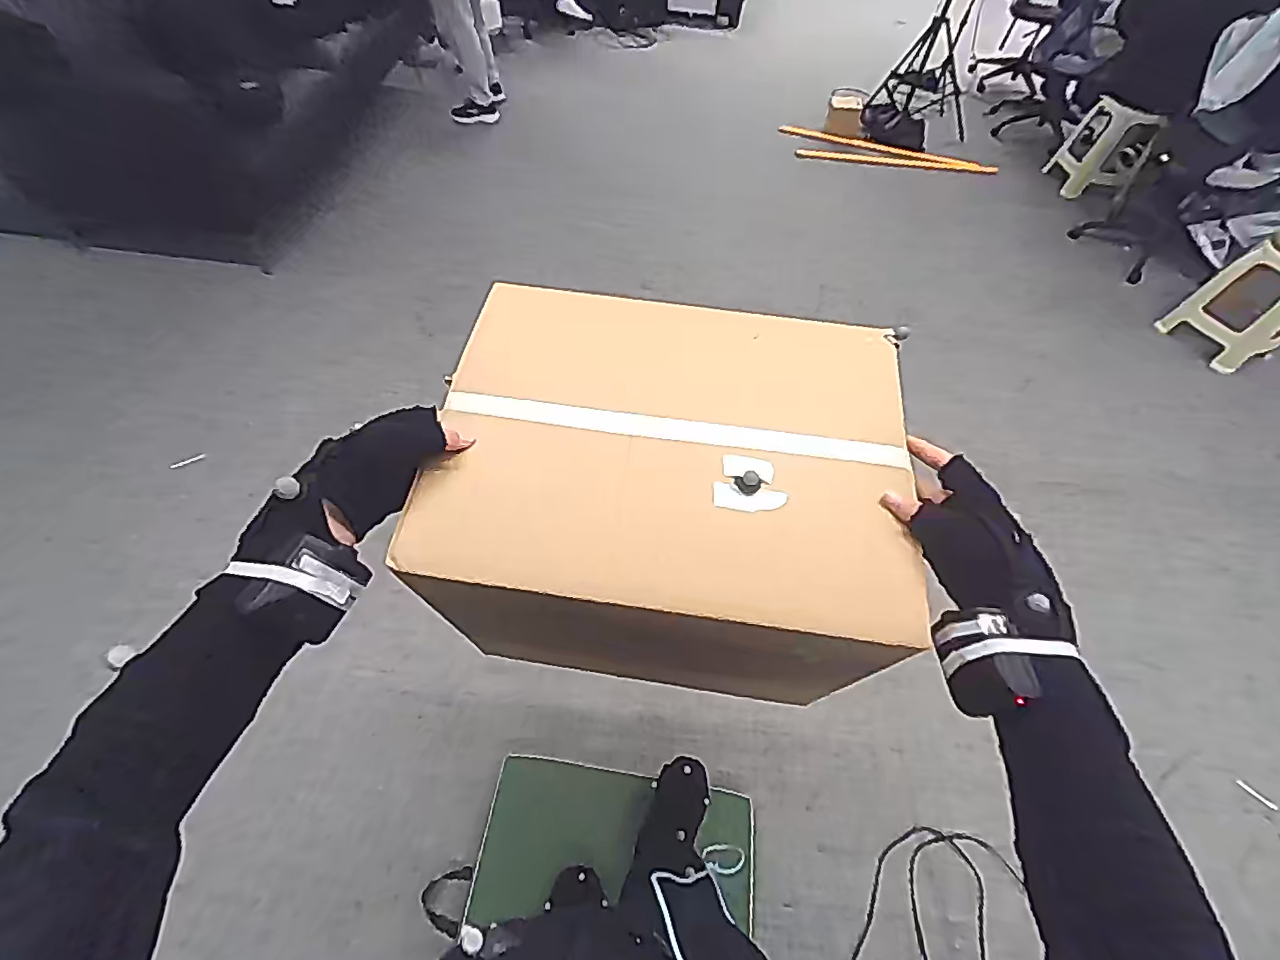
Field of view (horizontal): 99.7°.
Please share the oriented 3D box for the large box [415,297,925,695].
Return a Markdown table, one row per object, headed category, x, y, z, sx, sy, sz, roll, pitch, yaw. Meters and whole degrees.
| category | x | y | z | sx | sy | sz | roll | pitch | yaw |
| --- | --- | --- | --- | --- | --- | --- | --- | --- | --- |
| large box | 0.031 | 0.035 | 0.614 | 0.408 | 0.320 | 0.320 | 8 | 61 | 2 |
